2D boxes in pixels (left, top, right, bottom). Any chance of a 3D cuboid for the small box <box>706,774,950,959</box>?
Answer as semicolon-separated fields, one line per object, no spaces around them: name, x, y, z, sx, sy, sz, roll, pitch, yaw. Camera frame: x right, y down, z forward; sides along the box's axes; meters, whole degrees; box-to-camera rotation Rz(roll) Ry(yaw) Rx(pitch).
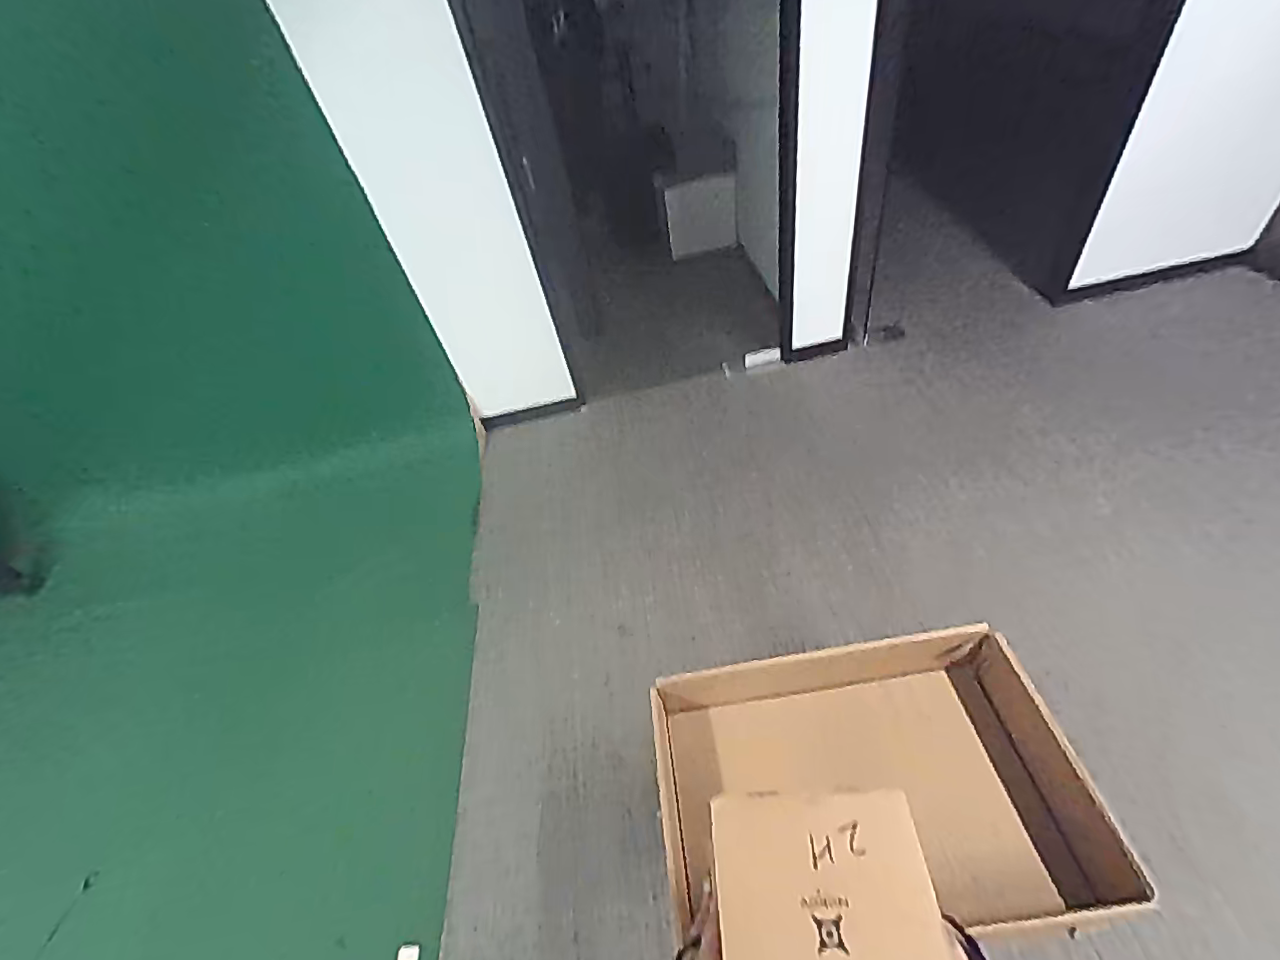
small box;0.150;0.372;0.464;0.168;0.176;0.179;-6;46;7
